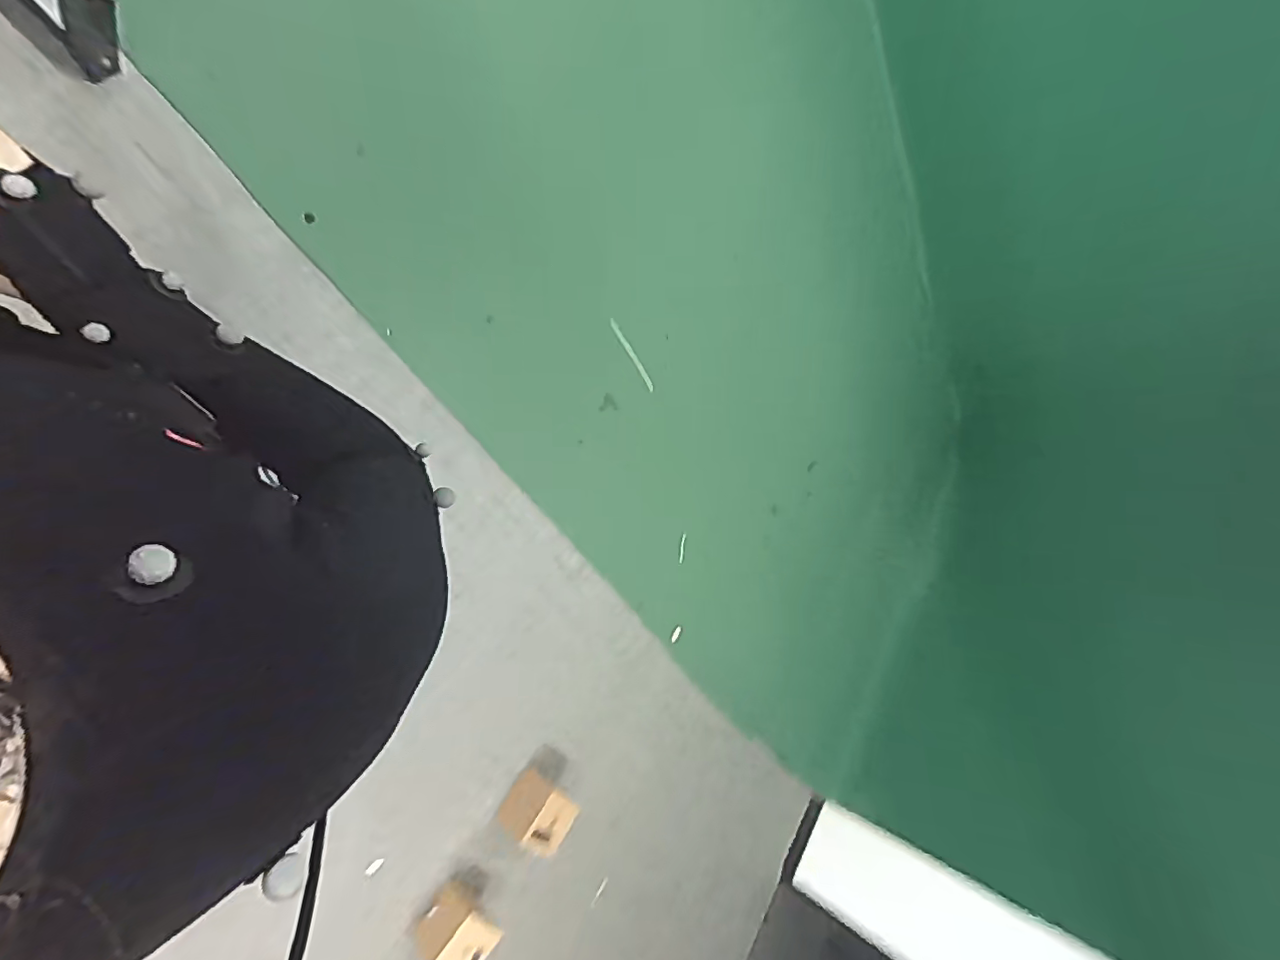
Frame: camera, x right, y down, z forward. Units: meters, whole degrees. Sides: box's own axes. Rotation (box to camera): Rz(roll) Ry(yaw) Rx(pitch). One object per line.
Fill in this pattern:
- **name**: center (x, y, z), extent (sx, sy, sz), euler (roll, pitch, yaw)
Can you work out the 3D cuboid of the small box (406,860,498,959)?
- **small box**: center (-0.581, 1.327, 1.670), extent (0.168, 0.176, 0.179), euler (-47, 124, -27)
